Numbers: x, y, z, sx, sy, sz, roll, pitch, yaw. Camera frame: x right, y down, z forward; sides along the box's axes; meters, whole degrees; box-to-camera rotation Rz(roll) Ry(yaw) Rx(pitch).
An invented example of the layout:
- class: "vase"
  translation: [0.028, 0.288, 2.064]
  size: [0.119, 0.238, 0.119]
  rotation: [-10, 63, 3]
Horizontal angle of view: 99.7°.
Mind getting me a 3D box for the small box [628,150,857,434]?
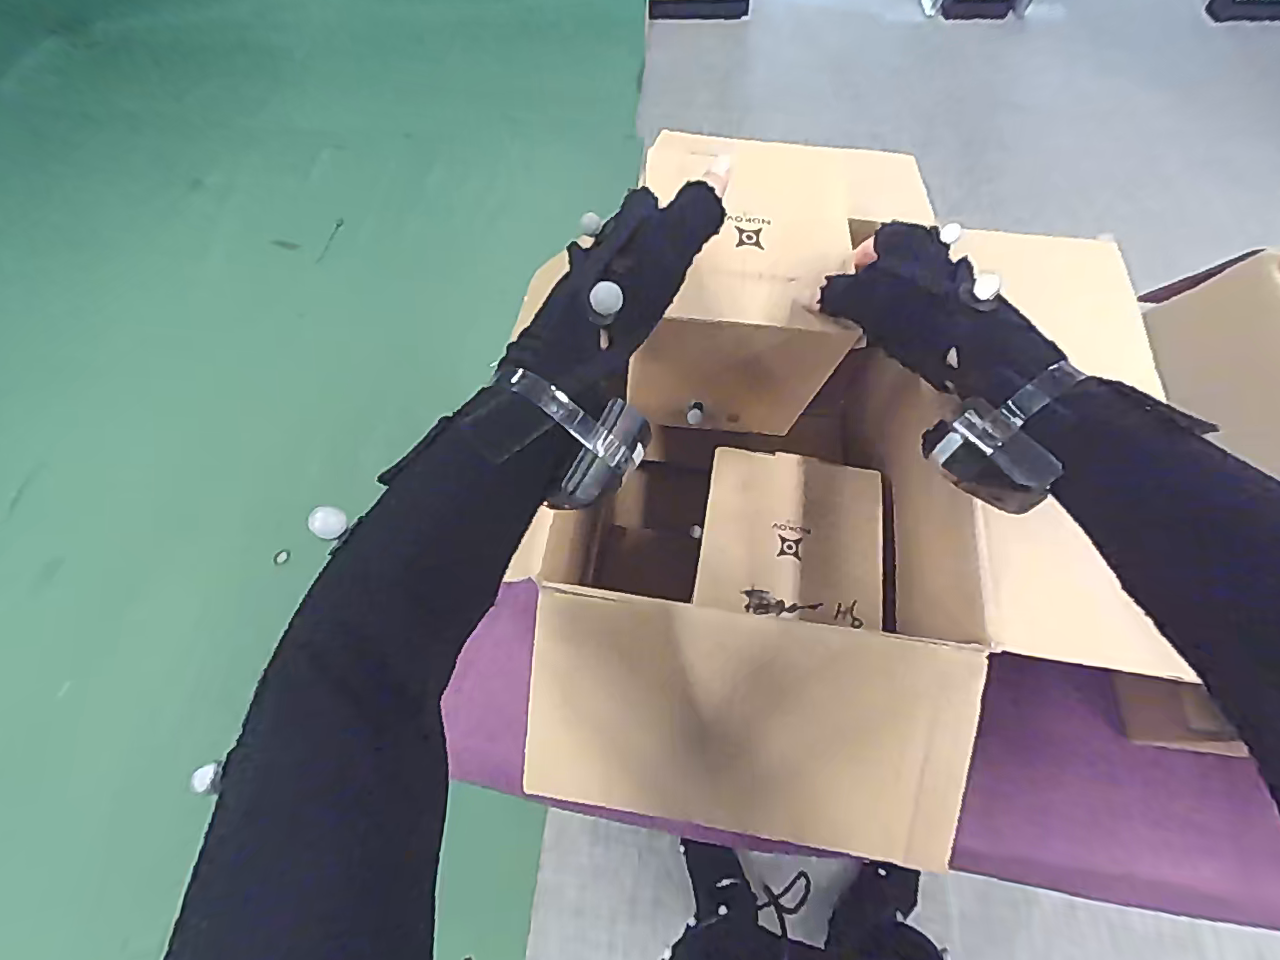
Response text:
- class: "small box"
  translation: [0.077, -0.163, 0.504]
  size: [0.168, 0.176, 0.179]
  rotation: [4, 67, -3]
